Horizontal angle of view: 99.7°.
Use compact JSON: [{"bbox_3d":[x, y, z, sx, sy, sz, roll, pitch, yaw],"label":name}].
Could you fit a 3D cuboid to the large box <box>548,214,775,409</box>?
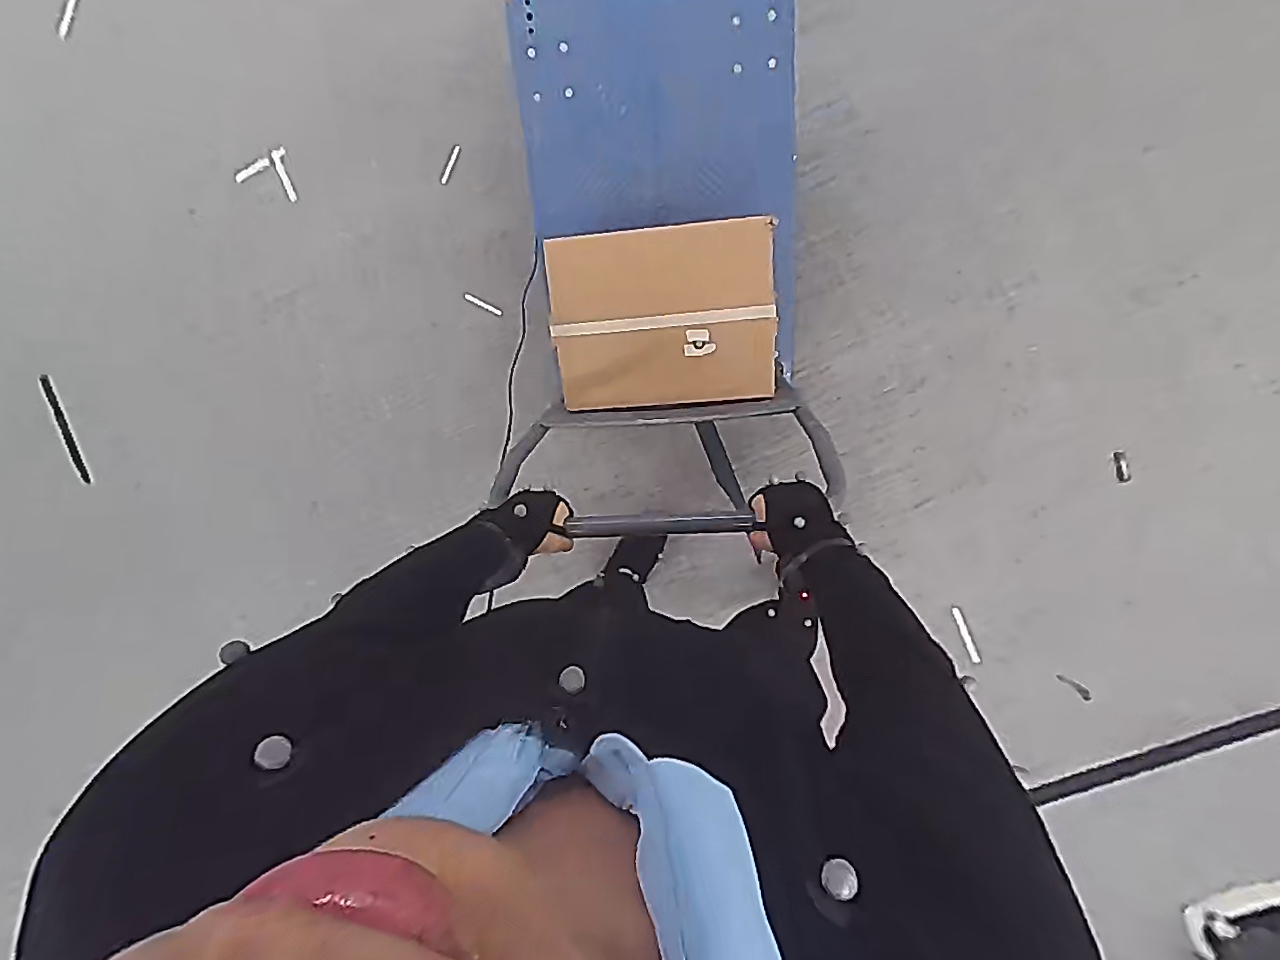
[{"bbox_3d":[0.055,-0.349,1.145,0.408,0.320,0.320,-4,109,6],"label":"large box"}]
